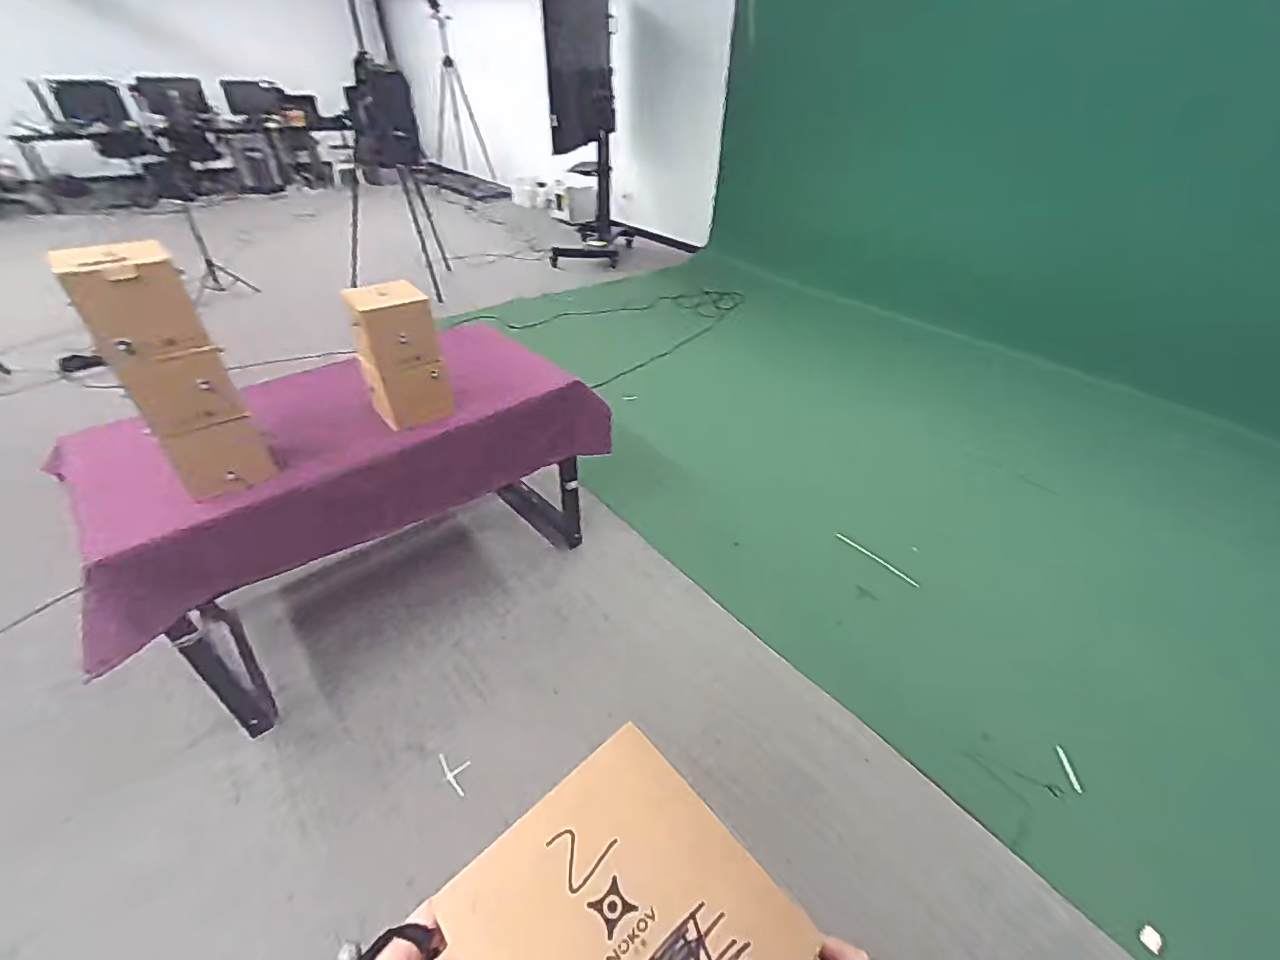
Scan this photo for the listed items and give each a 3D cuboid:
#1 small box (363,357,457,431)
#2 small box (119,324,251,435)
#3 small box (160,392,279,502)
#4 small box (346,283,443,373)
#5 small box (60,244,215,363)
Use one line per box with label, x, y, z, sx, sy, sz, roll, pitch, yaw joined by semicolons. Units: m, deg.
small box;-0.629;-0.256;1.493;0.179;0.176;0.168;-26;45;-31
small box;-0.964;-0.212;1.153;0.168;0.176;0.179;-25;44;-31
small box;-0.966;-0.079;1.248;0.179;0.176;0.168;-26;45;-32
small box;-0.629;-0.390;1.397;0.168;0.176;0.179;-24;44;-30
small box;-0.969;-0.342;1.053;0.168;0.176;0.179;-28;45;-34
